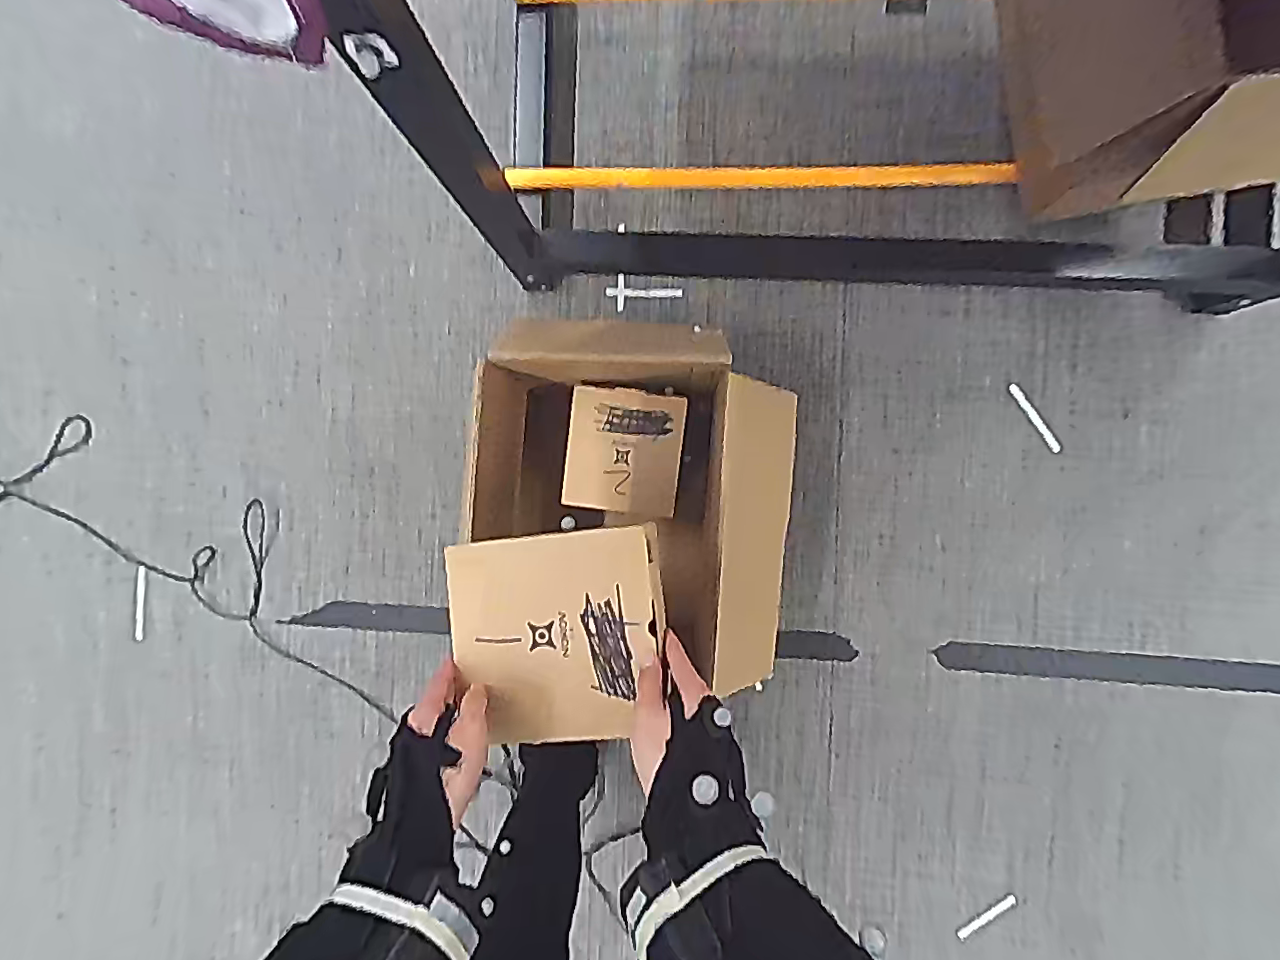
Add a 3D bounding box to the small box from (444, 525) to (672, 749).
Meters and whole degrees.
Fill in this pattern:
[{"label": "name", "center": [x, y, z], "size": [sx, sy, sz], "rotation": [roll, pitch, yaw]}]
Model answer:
[{"label": "small box", "center": [-0.065, 0.134, 0.521], "size": [0.179, 0.176, 0.168], "rotation": [-7, 85, 4]}]
